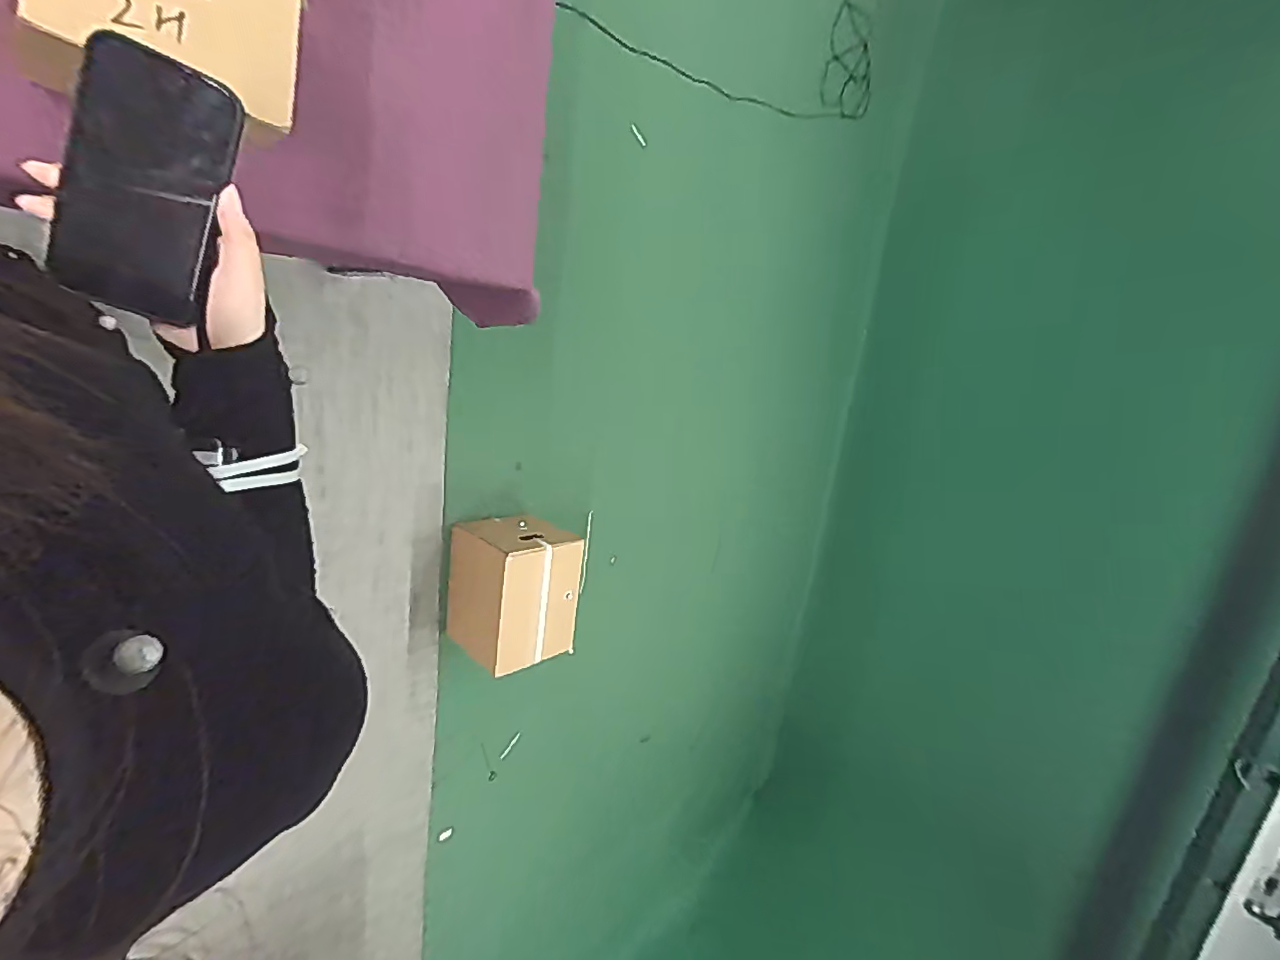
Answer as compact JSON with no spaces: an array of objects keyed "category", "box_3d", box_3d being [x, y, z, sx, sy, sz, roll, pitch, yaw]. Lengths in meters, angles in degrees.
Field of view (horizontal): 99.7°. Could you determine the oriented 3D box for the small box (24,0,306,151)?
[{"category":"small box","box_3d":[-0.414,-0.423,0.474,0.168,0.176,0.179,0,105,-48]}]
